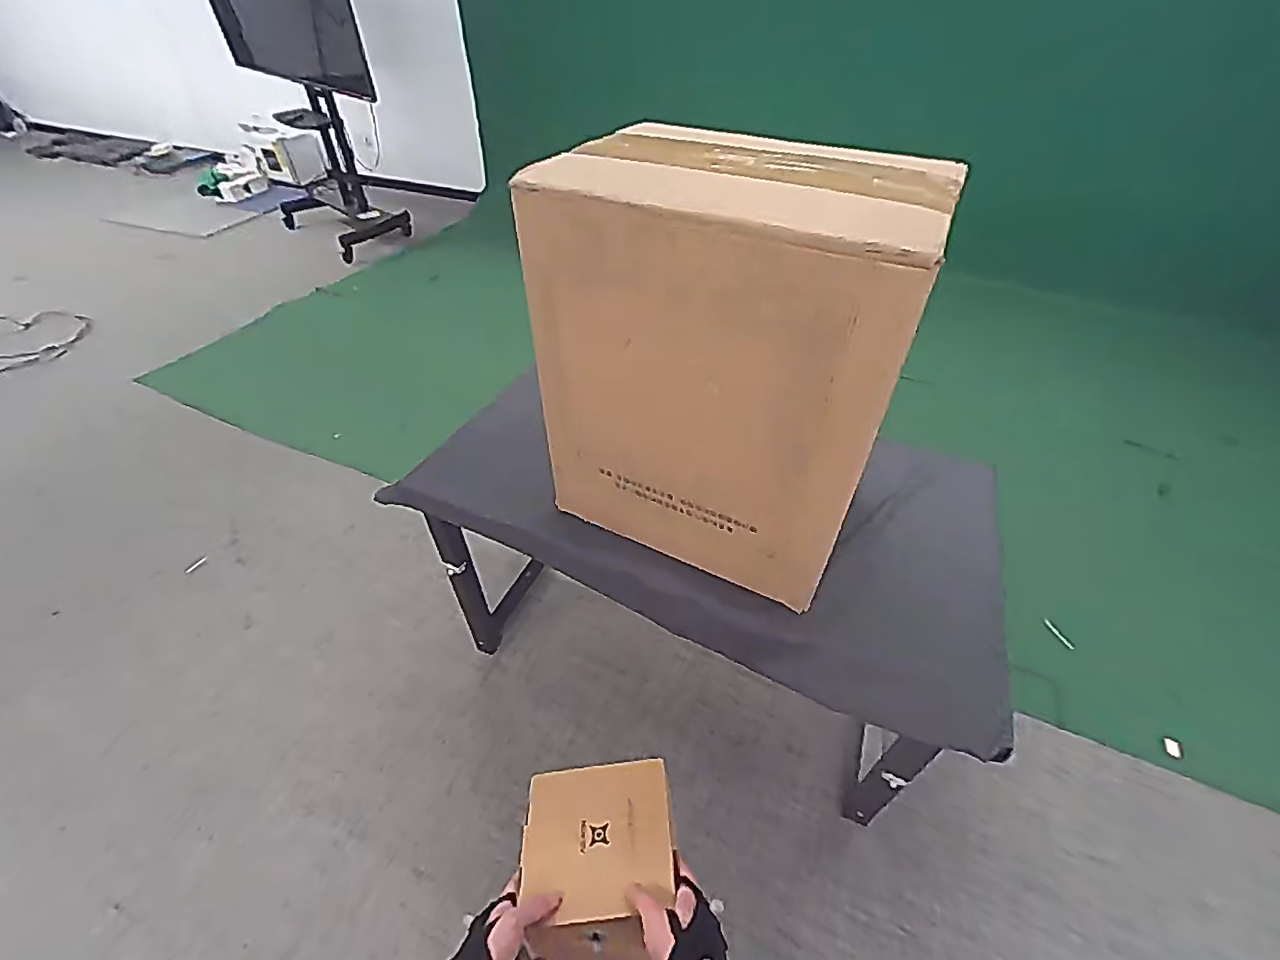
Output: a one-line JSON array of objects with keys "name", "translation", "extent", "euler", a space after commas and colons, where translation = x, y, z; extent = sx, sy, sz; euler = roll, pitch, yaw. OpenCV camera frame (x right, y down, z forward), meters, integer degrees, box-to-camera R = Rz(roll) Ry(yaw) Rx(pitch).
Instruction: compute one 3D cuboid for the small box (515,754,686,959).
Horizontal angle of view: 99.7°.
[{"name": "small box", "translation": [-0.043, 0.477, 0.679], "extent": [0.179, 0.176, 0.168], "euler": [-7, 34, 0]}]
